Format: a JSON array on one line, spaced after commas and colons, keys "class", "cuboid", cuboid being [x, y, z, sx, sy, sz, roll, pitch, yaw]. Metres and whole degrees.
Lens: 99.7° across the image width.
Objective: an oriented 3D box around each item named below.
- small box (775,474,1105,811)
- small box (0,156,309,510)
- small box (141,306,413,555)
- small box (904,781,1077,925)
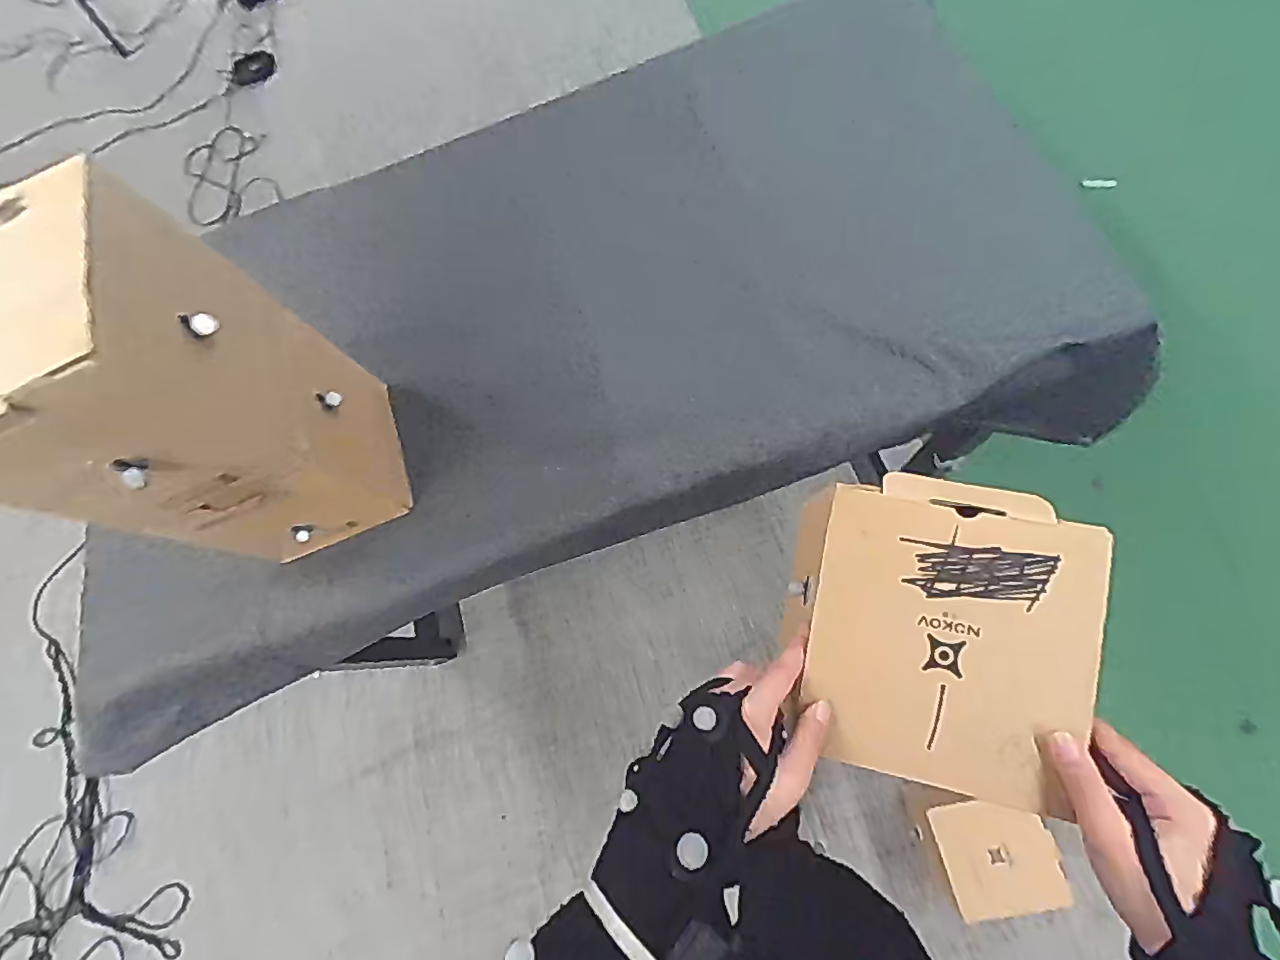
[{"class": "small box", "cuboid": [0.202, 0.105, 0.413, 0.168, 0.176, 0.179, 10, 84, 11]}, {"class": "small box", "cuboid": [-0.391, -0.089, 0.414, 0.168, 0.176, 0.179, -23, 71, 2]}, {"class": "small box", "cuboid": [-0.369, -0.040, 0.569, 0.168, 0.176, 0.179, -22, 70, 2]}, {"class": "small box", "cuboid": [0.598, 0.635, 0.950, 0.179, 0.176, 0.168, -16, 70, 7]}]
